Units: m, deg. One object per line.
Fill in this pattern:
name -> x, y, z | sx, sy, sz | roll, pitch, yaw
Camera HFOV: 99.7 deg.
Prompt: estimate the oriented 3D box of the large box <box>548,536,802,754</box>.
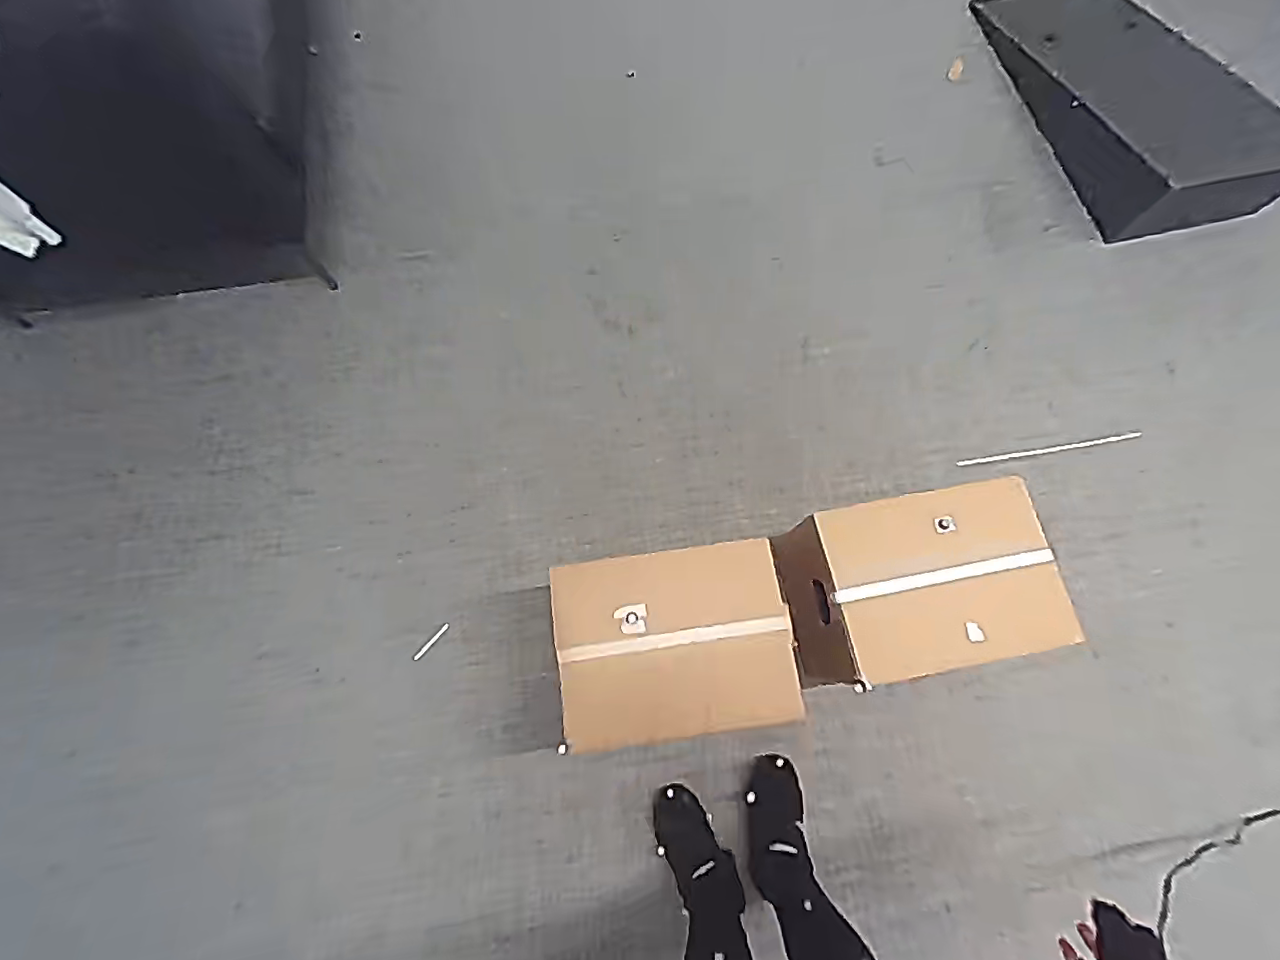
large box -> 0.057, 0.315, 1.072 | 0.408, 0.320, 0.320 | -8, 73, -1
